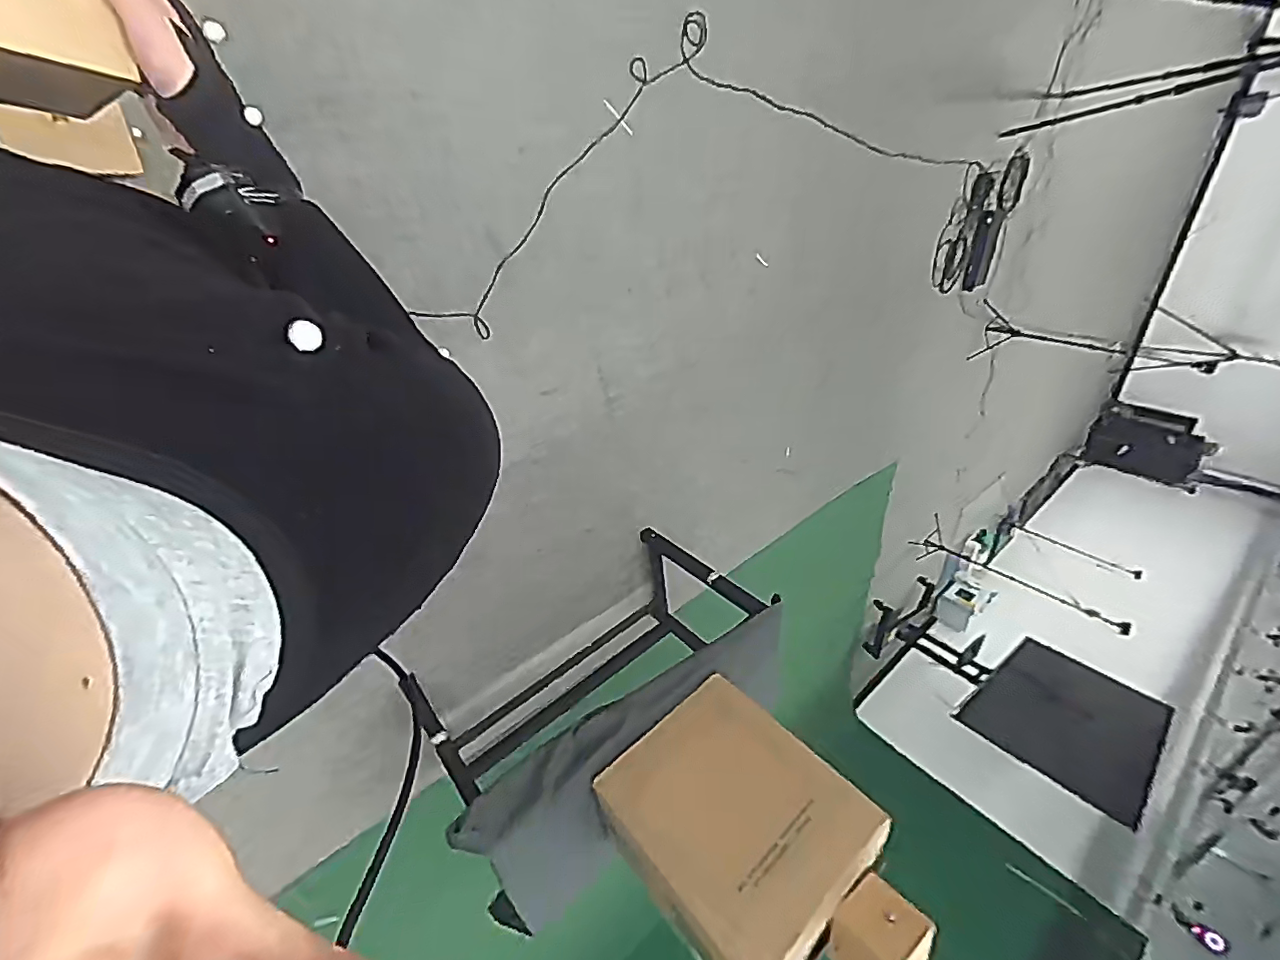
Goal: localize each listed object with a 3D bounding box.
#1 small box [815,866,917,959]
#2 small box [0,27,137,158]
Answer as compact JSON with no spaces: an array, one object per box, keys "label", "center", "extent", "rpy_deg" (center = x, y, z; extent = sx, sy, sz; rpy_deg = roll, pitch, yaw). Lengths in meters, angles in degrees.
[{"label":"small box","center":[0.573,1.147,1.378],"extent":[0.179,0.176,0.168],"rpy_deg":[-16,112,-35]},{"label":"small box","center":[-0.990,-0.642,0.909],"extent":[0.179,0.176,0.168],"rpy_deg":[-20,128,-36]}]
